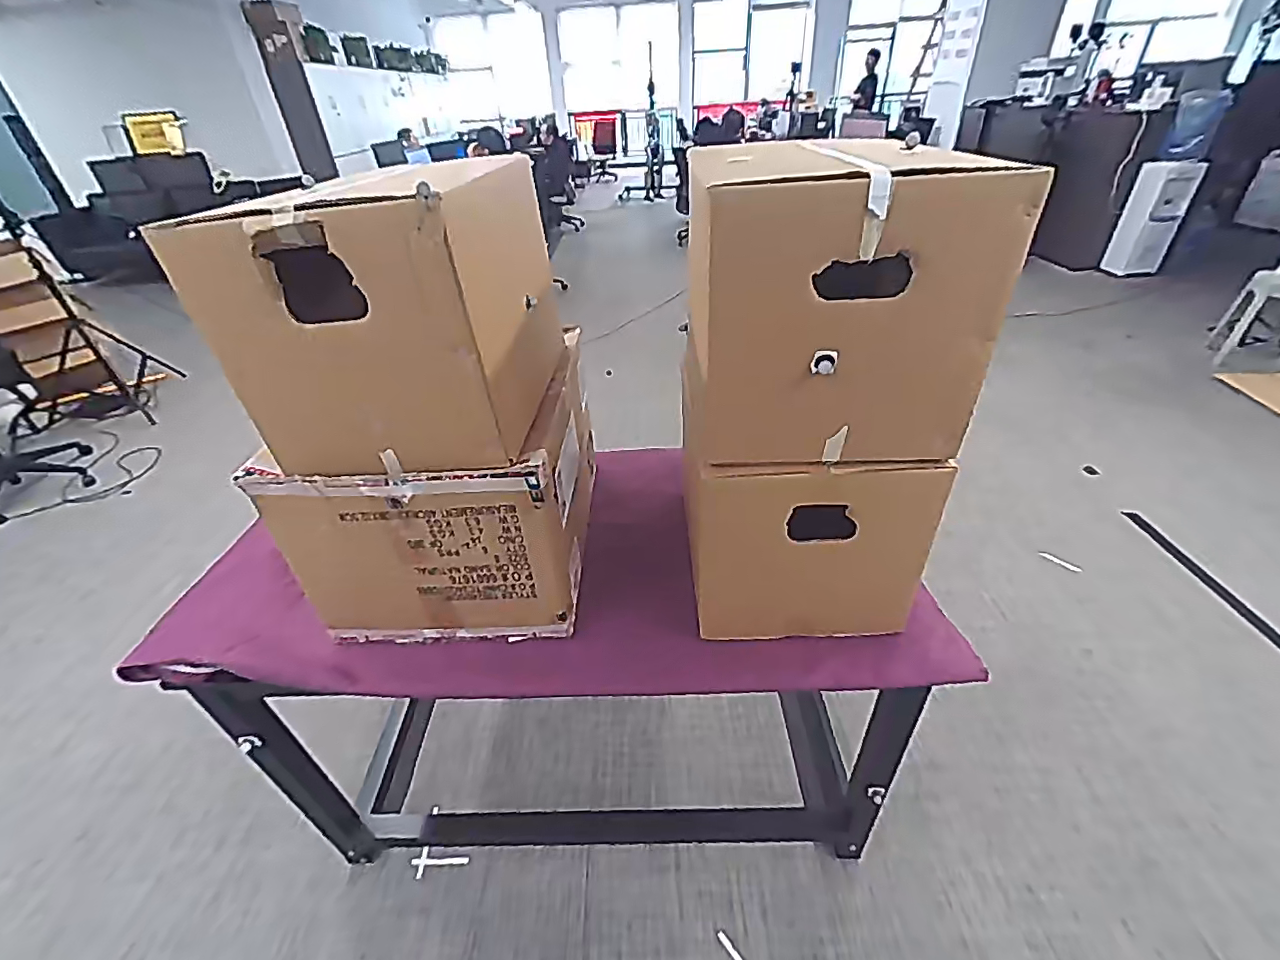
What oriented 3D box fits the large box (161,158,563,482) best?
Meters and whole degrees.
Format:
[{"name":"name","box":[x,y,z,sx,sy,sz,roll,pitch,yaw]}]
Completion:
[{"name":"large box","box":[-0.305,-0.243,0.765,0.320,0.320,0.408,-5,36,5]}]
